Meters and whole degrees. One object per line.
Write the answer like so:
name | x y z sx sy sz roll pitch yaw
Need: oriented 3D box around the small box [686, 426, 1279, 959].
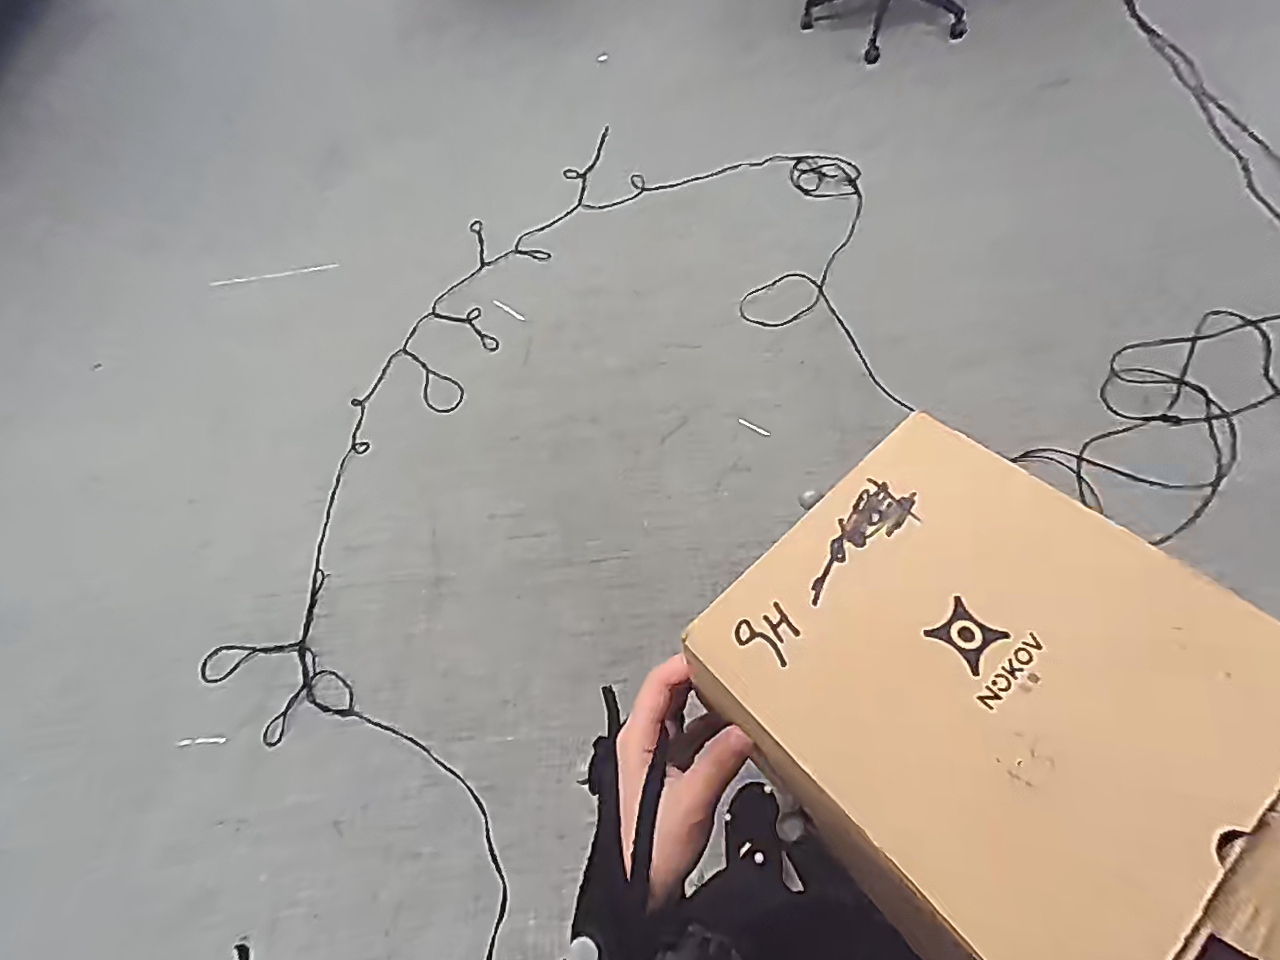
small box | 0.146 0.113 0.280 0.168 0.176 0.179 -38 61 -14
